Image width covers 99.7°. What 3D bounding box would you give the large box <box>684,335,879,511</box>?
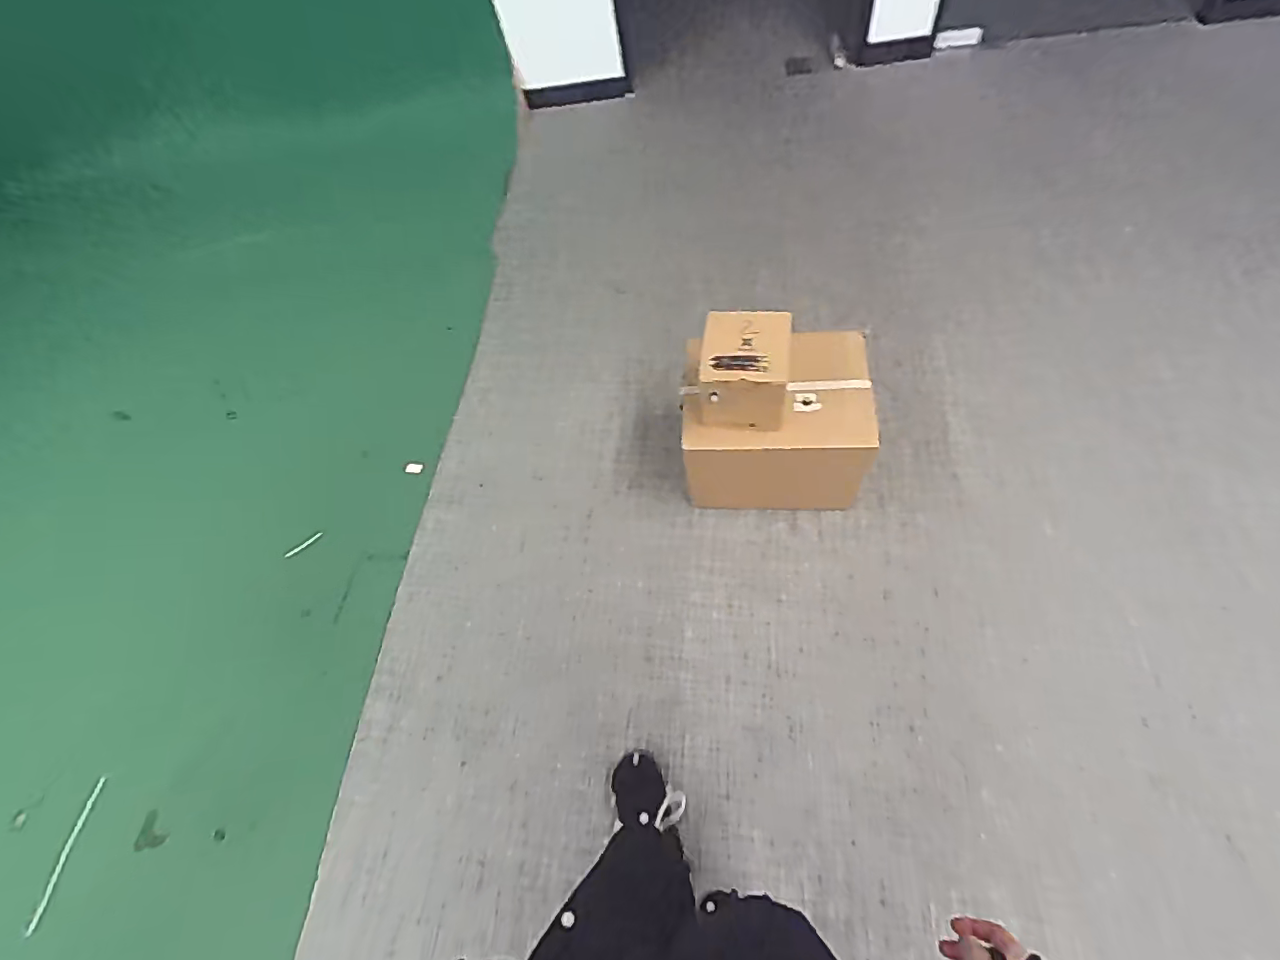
[{"bbox_3d":[0.317,-0.125,1.320,0.408,0.320,0.320,0,64,9],"label":"large box"}]
